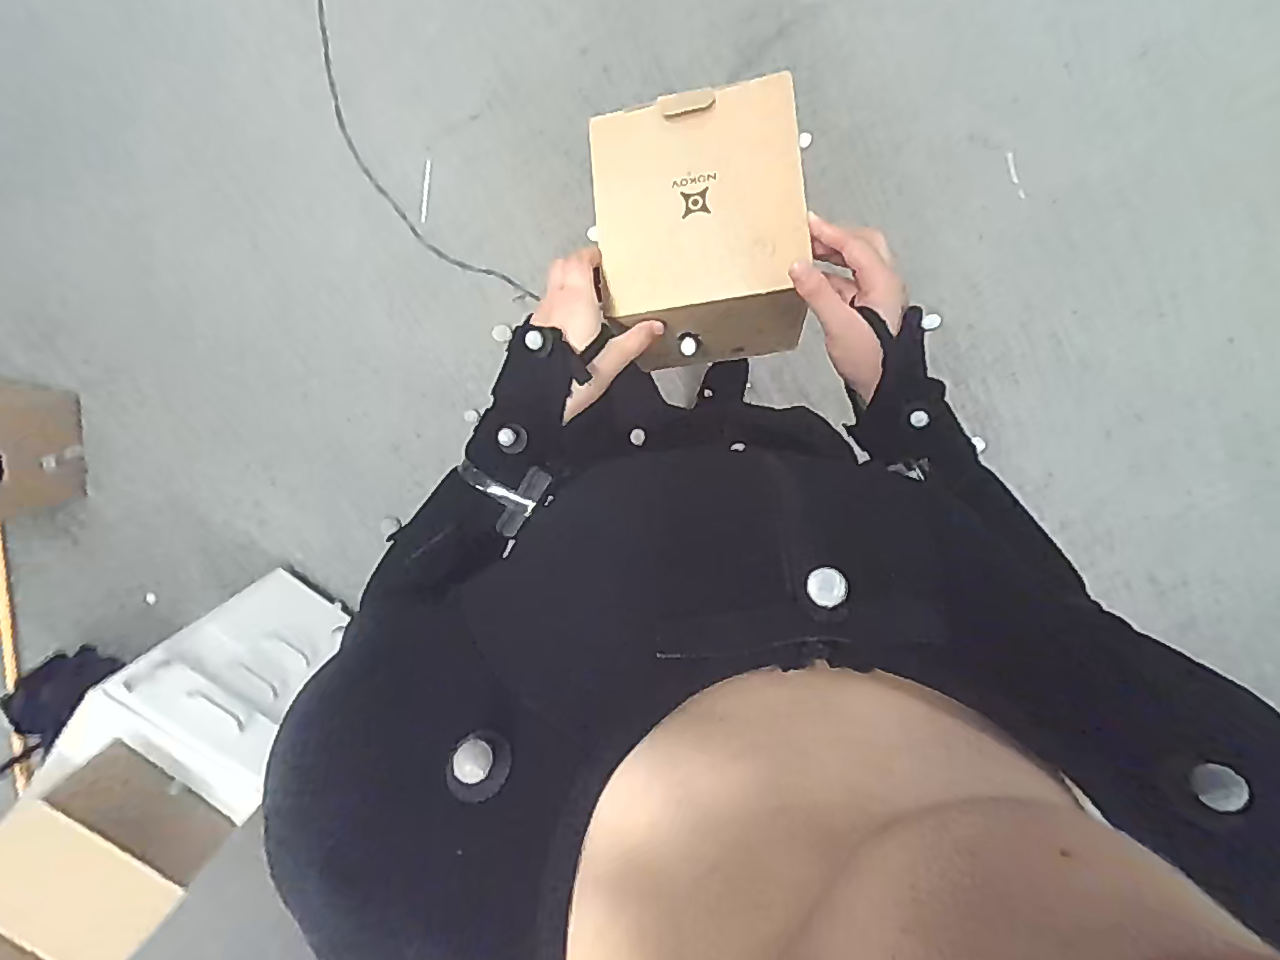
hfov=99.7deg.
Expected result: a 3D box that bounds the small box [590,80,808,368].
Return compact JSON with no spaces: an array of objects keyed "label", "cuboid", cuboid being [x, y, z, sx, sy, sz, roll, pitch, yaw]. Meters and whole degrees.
[{"label":"small box","cuboid":[0.059,-0.211,0.503,0.168,0.176,0.179,-5,84,11]}]

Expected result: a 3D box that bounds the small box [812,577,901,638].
[{"label":"small box","cuboid":[0.555,0.376,1.346,0.168,0.176,0.179,-31,102,10]}]
